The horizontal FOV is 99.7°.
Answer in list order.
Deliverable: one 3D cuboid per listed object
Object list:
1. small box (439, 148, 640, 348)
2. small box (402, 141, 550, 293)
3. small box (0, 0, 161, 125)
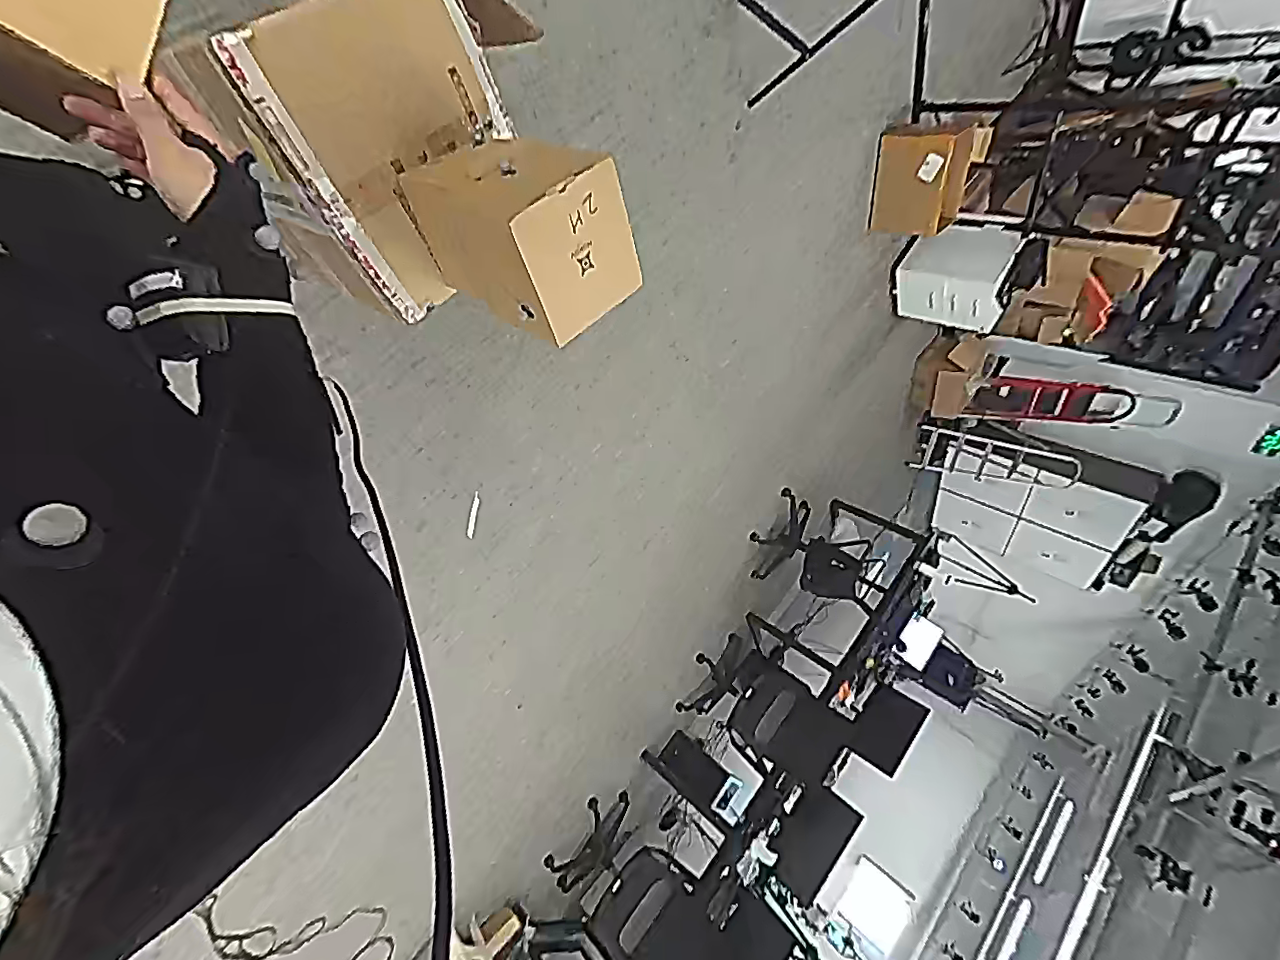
[{"bbox_3d":[-0.128,-0.312,0.719,0.168,0.176,0.179,-43,143,-21],"label":"small box"},{"bbox_3d":[-0.225,-0.396,0.826,0.168,0.176,0.179,-41,142,-23],"label":"small box"},{"bbox_3d":[-0.428,-0.356,0.333,0.179,0.176,0.168,16,86,-55],"label":"small box"}]
